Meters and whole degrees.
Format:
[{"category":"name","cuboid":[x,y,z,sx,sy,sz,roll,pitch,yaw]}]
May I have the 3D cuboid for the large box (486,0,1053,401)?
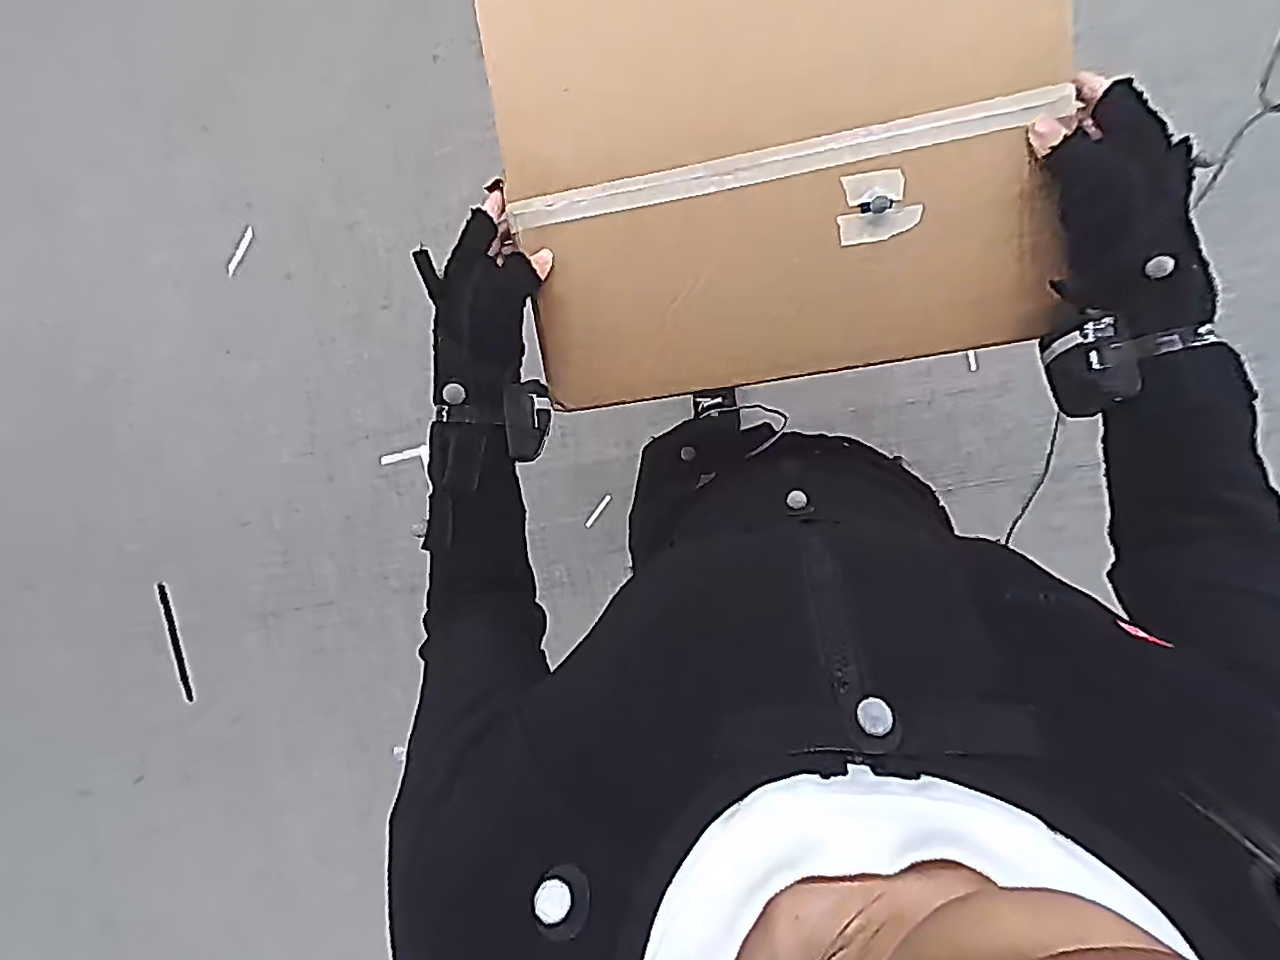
[{"category":"large box","cuboid":[0.112,-0.273,0.560,0.408,0.320,0.320,-8,101,7]}]
